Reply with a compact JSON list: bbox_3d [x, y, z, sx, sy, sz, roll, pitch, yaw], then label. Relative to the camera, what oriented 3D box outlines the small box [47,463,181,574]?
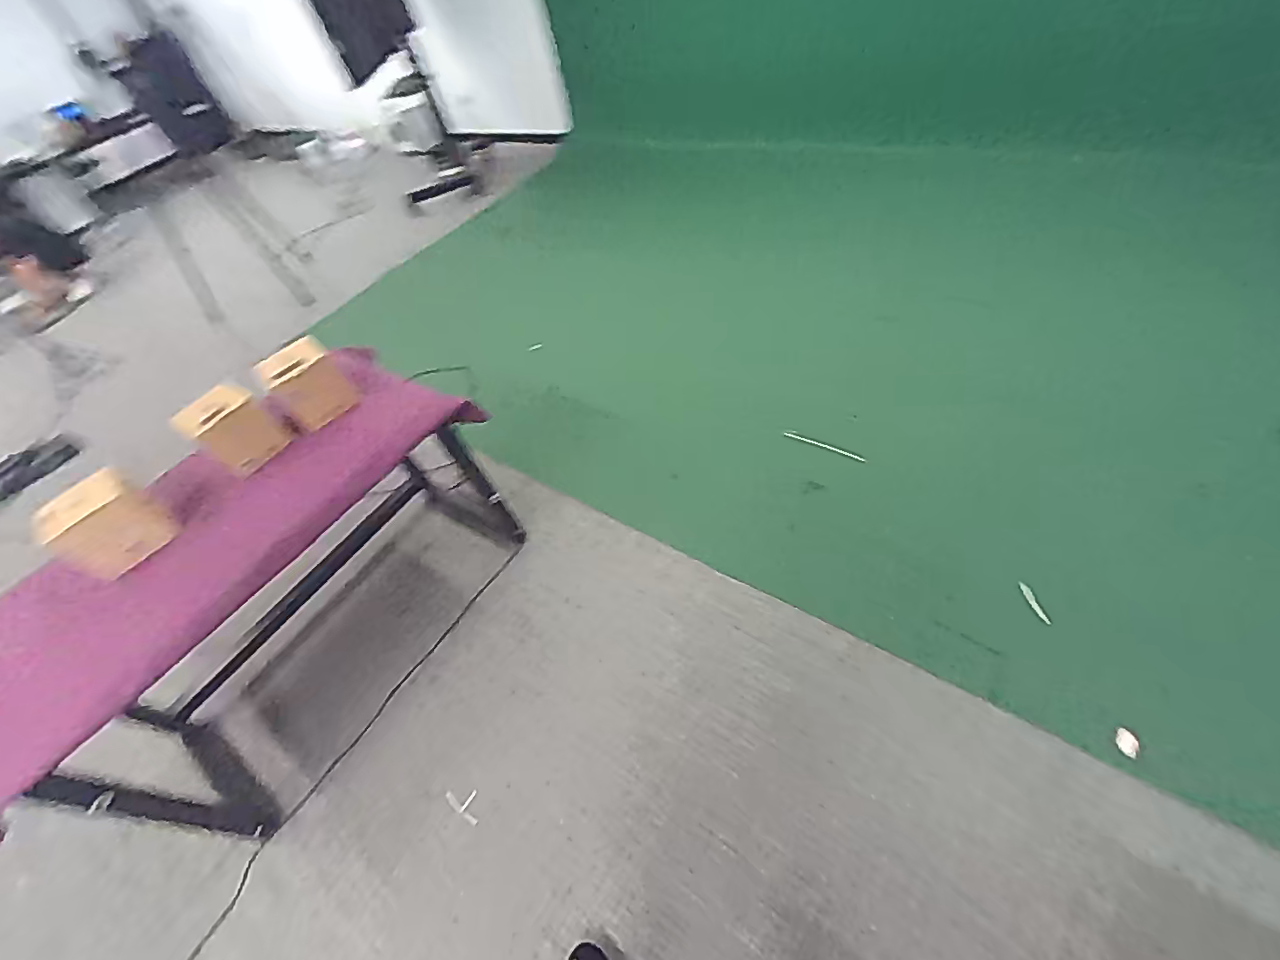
[{"bbox_3d":[-1.289,0.097,1.339,0.168,0.176,0.179,32,64,34],"label":"small box"}]
